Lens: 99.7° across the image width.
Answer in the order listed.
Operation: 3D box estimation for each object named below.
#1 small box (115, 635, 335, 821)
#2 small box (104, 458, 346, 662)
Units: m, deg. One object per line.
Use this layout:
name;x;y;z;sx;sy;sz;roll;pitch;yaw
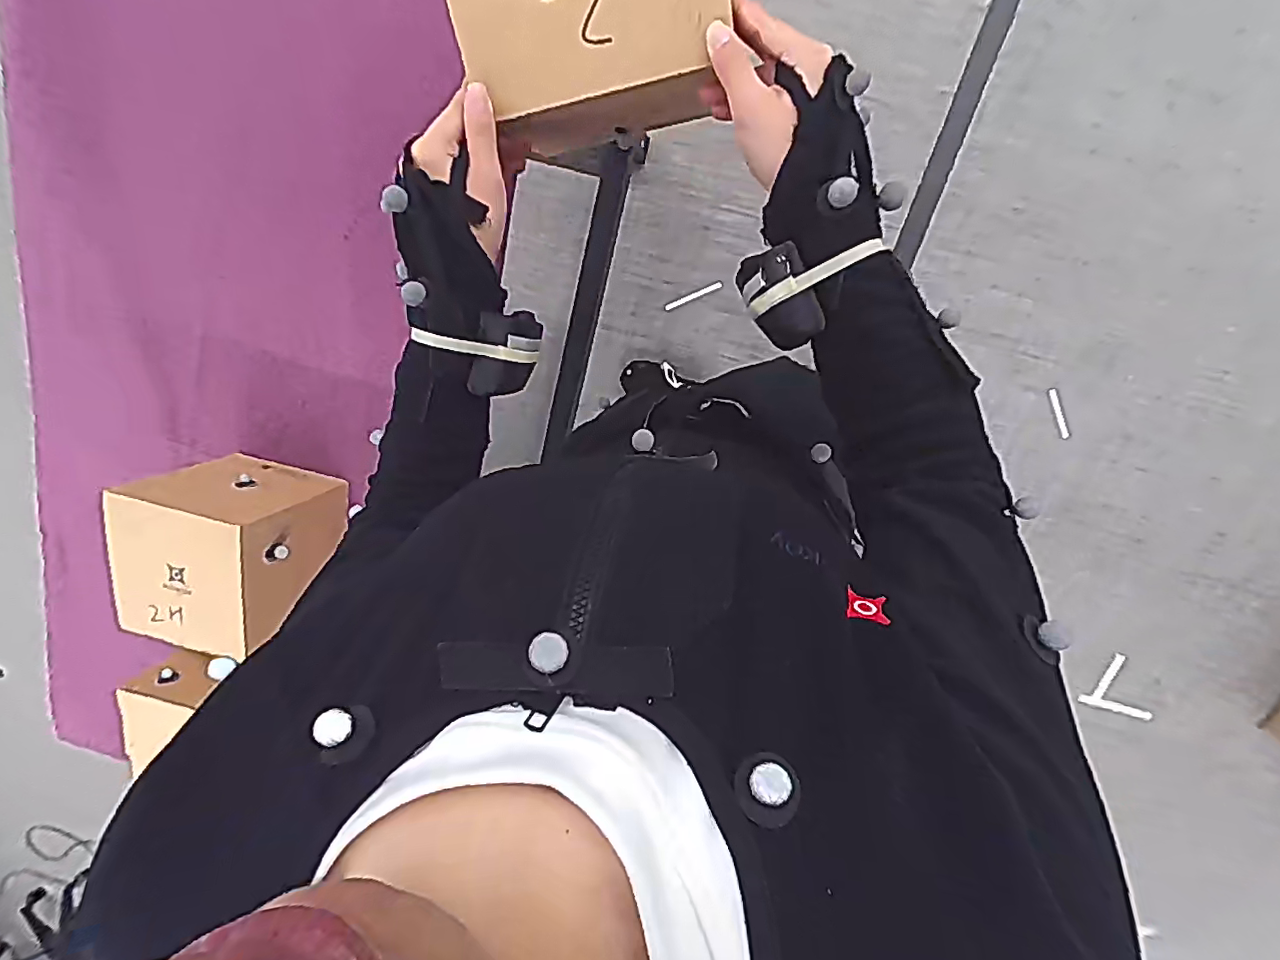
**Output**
small box;-0.548;0.318;0.743;0.179;0.176;0.168;10;108;7
small box;-0.487;0.083;0.660;0.168;0.176;0.179;13;107;7
